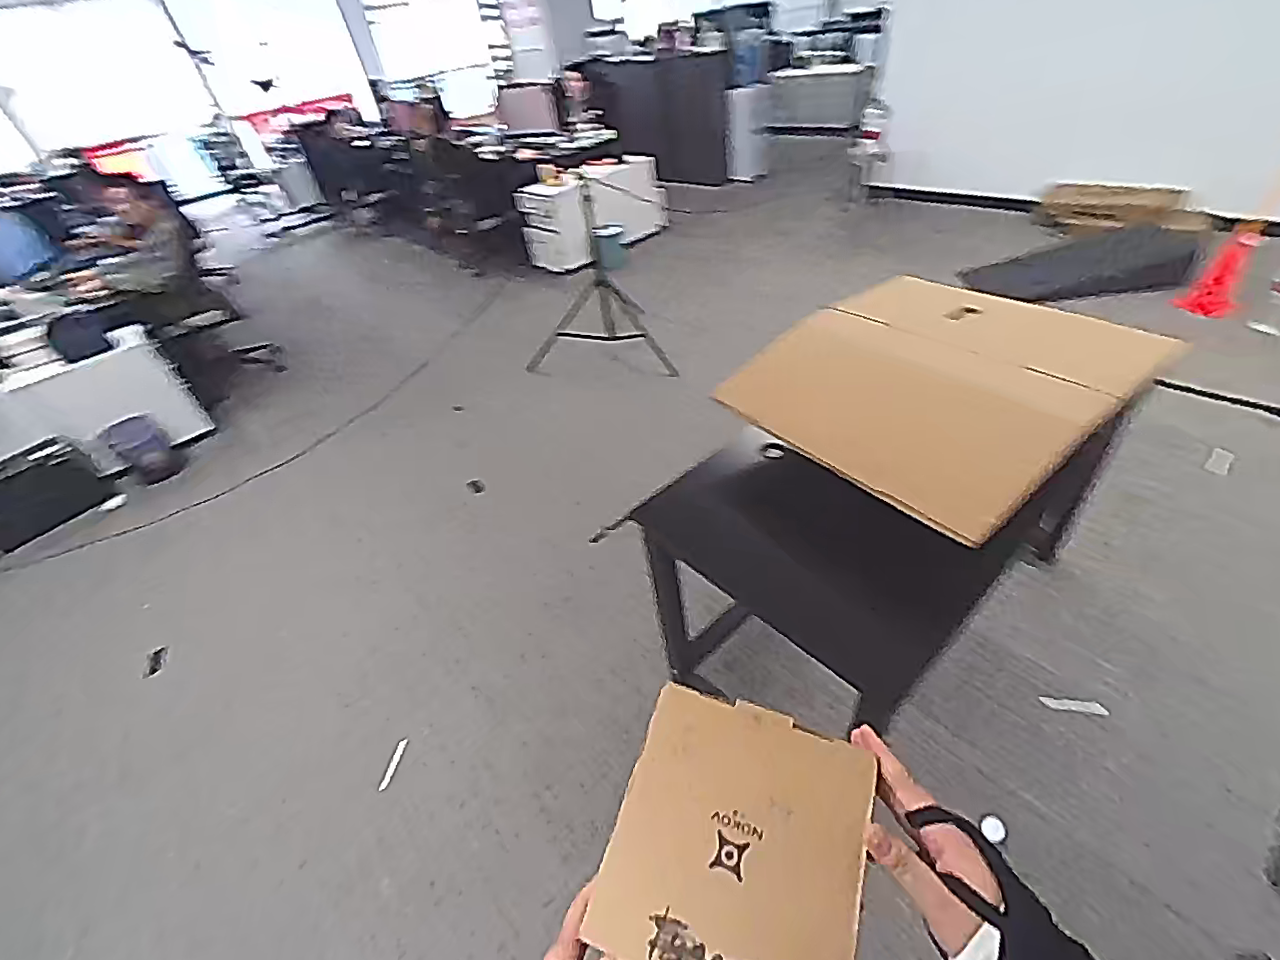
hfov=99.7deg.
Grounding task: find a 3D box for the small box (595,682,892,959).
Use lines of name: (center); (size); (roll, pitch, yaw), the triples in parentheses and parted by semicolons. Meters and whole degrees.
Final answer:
small box: (0.087, 0.296, 0.432); (0.168, 0.176, 0.179); (12, 57, 22)
